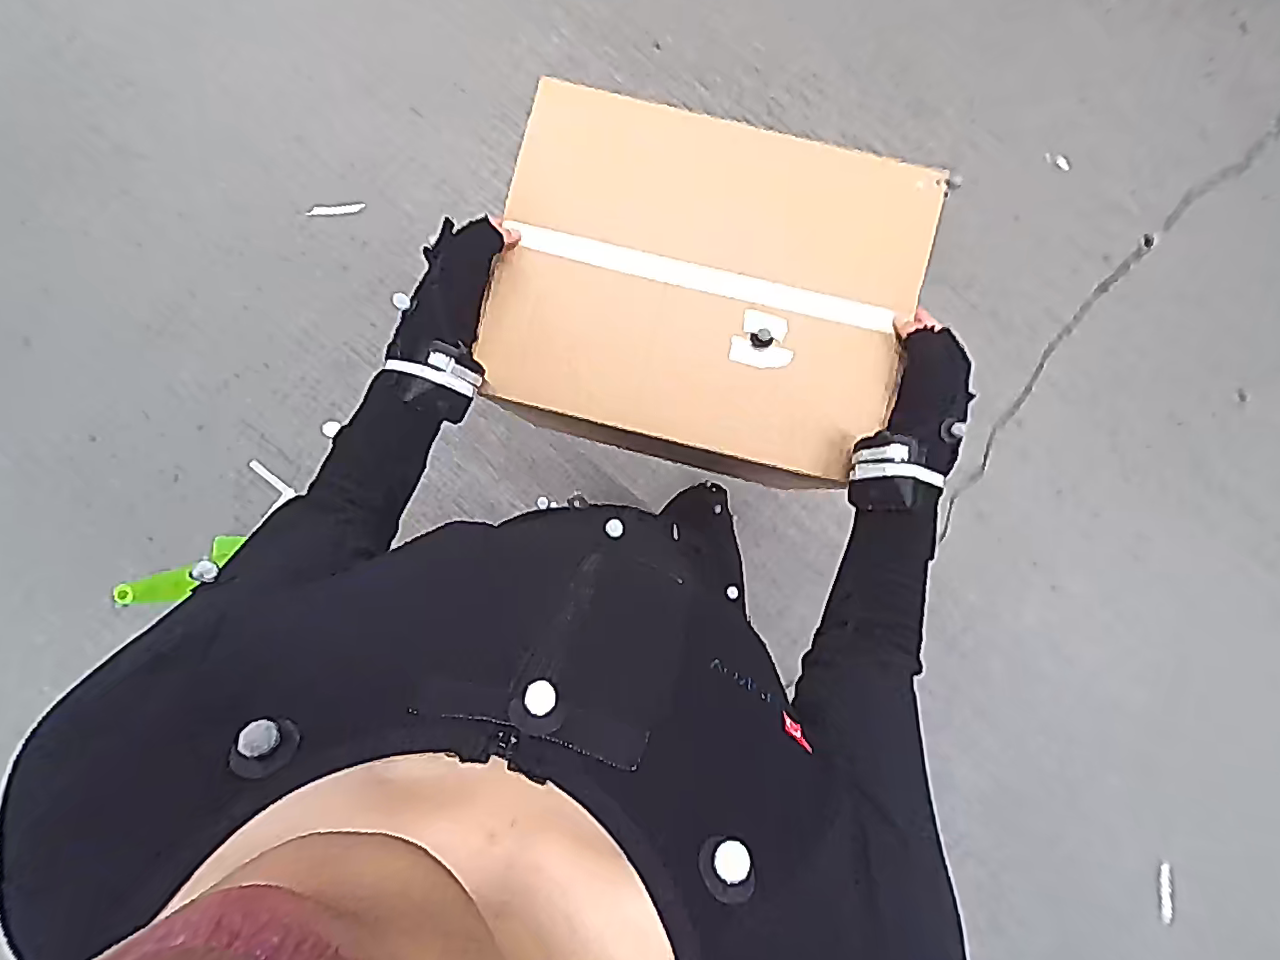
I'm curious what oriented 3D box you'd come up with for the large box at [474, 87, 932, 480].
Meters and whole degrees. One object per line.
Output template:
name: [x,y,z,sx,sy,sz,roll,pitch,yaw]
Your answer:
large box: [0.061,-0.194,0.674,0.408,0.320,0.320,13,89,0]
